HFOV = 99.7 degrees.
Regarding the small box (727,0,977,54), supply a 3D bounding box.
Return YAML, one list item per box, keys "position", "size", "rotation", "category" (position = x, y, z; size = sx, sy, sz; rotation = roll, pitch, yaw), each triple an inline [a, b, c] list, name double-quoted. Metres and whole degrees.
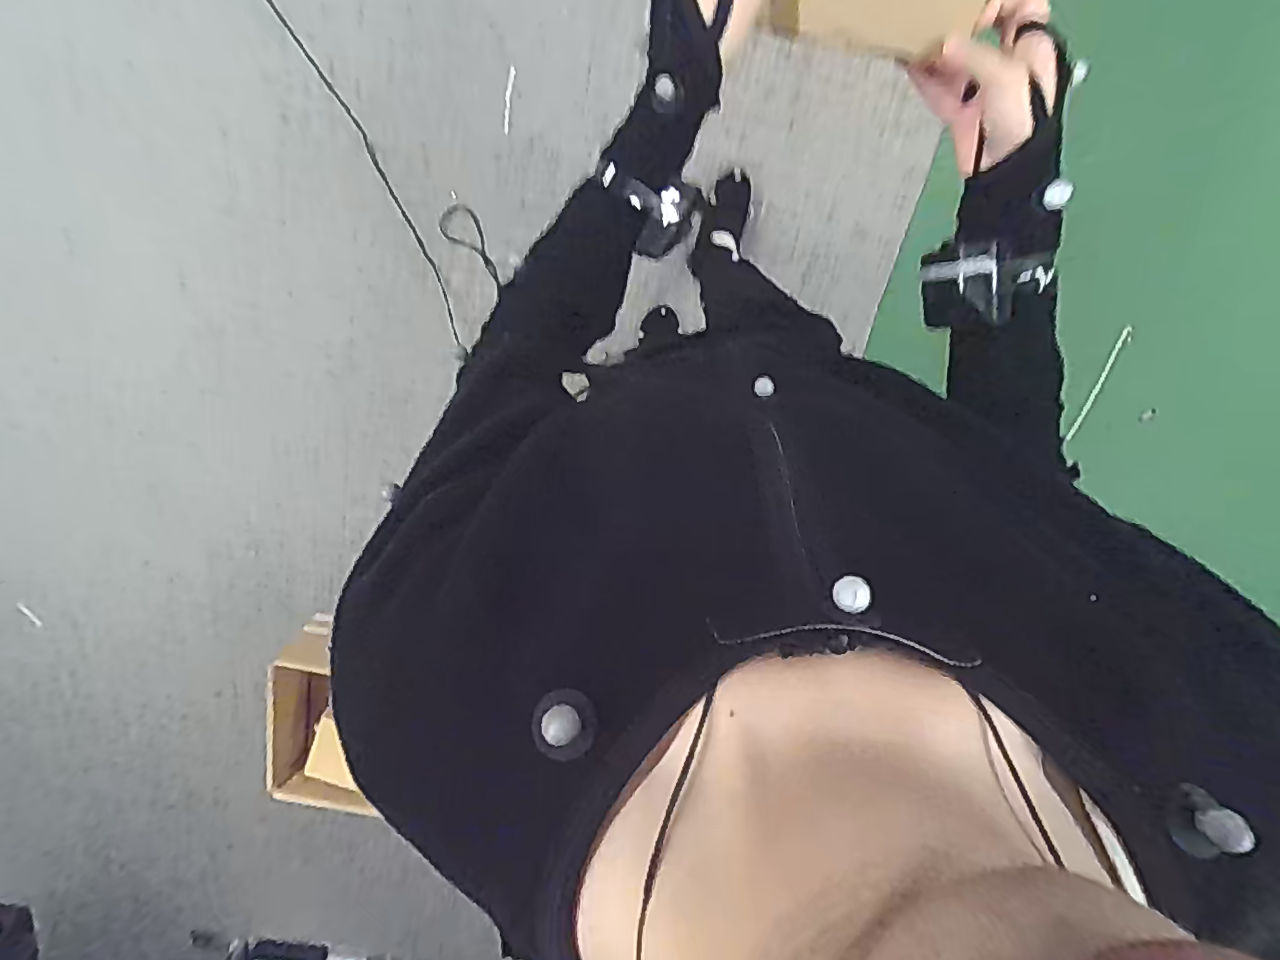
- position: [0.161, -0.425, 0.362]
  size: [0.168, 0.176, 0.179]
  rotation: [12, 140, 2]
  category: "small box"
